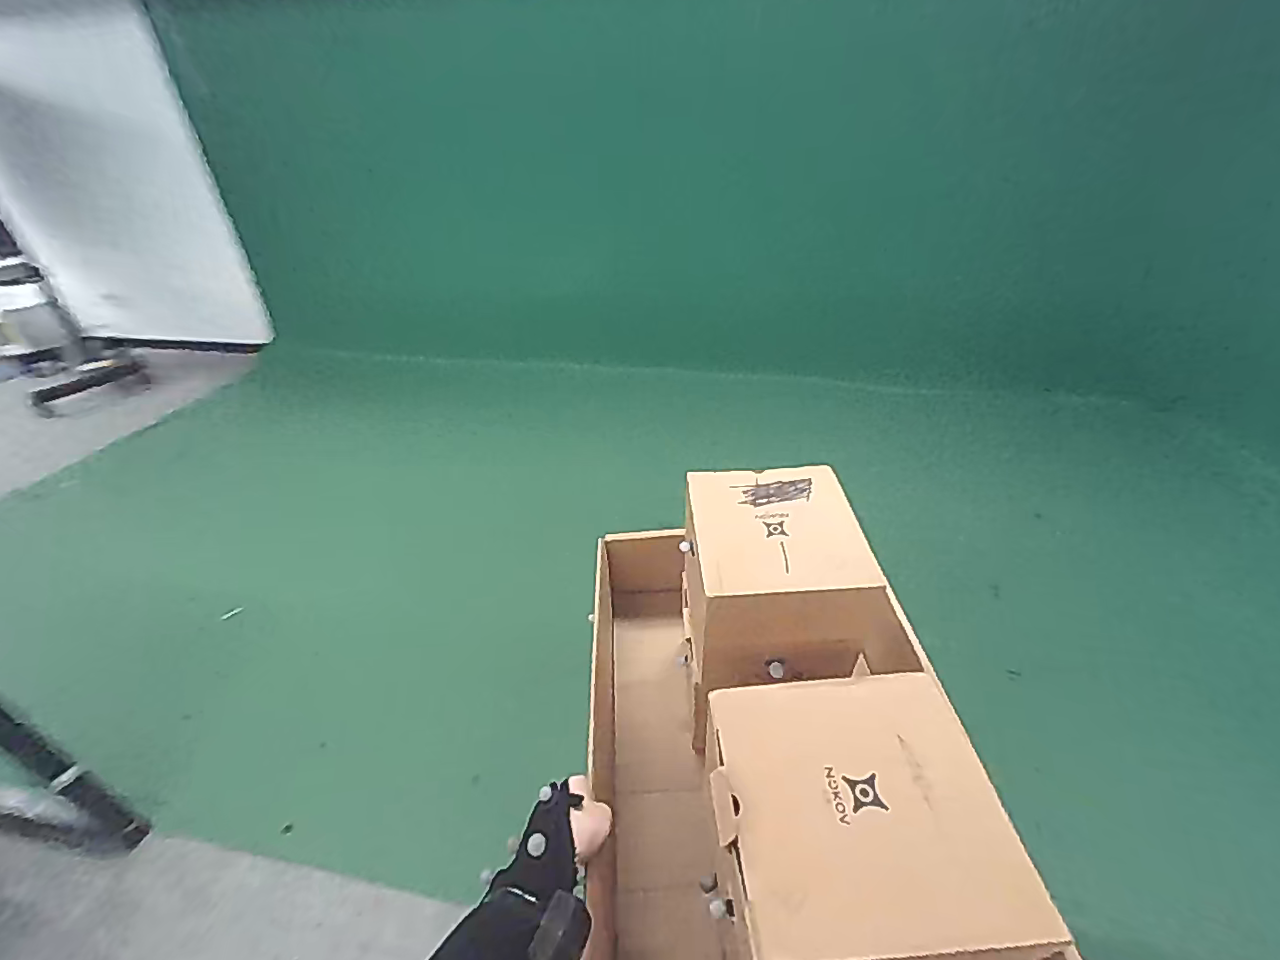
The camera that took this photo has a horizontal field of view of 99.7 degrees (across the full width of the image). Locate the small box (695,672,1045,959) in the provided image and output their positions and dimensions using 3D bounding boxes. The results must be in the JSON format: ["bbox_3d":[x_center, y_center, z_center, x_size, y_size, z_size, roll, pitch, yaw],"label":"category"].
[{"bbox_3d":[0.140,0.271,0.408,0.179,0.176,0.168,-5,39,-3],"label":"small box"}]
